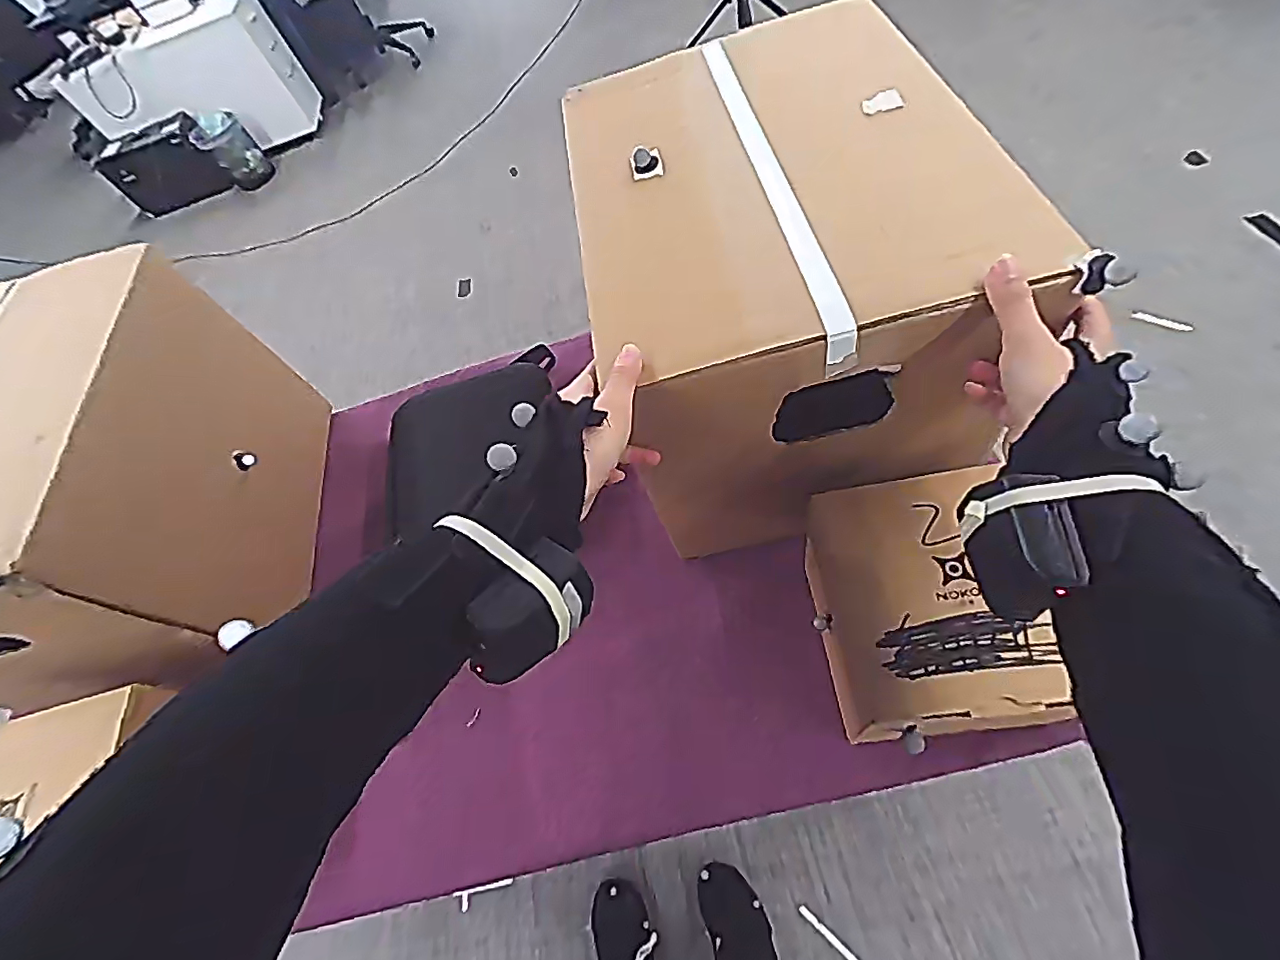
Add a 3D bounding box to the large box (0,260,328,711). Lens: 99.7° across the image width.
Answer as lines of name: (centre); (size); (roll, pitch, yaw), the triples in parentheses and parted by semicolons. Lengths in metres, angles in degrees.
large box: (-0.625, 0.023, 0.653); (0.320, 0.320, 0.408); (-16, 61, 4)
